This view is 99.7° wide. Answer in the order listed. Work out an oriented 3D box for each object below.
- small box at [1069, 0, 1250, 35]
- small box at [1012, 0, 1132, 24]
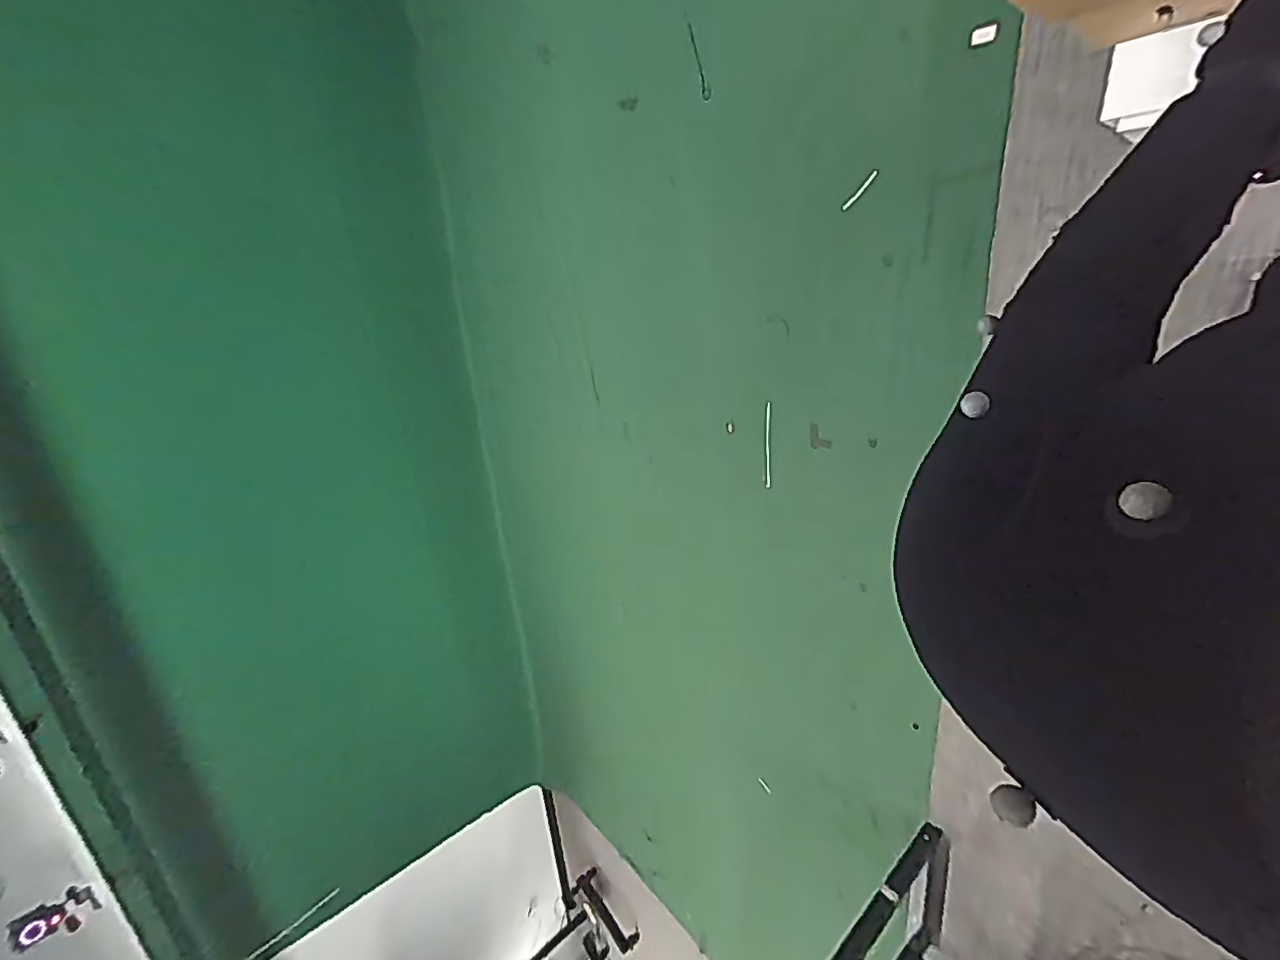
[{"bbox_3d":[0.528,-0.558,0.511,0.168,0.176,0.179,18,119,45],"label":"small box"},{"bbox_3d":[0.407,-0.501,0.418,0.179,0.176,0.168,18,118,47],"label":"small box"}]
